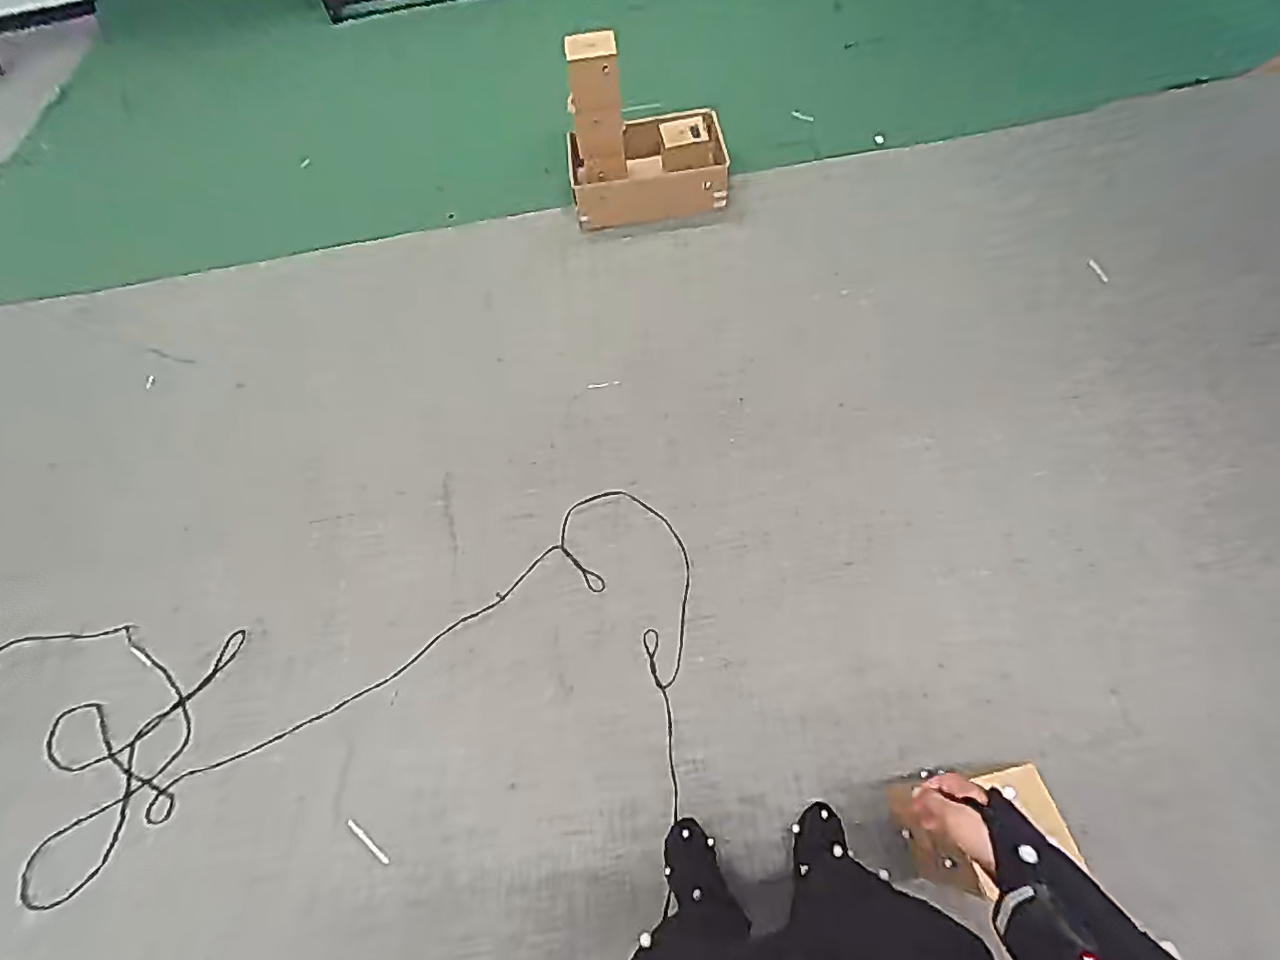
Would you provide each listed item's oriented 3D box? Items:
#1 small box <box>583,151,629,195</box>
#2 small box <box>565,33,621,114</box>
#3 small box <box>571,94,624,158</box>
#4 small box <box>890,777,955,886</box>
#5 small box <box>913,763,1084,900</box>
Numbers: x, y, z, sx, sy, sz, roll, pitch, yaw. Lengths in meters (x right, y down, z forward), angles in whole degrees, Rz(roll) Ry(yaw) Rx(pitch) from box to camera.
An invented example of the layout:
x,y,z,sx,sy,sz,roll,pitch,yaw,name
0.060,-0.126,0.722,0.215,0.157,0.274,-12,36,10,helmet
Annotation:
x,y,z,sx,sy,sz,roll,pitch,yaw,name
-0.142,-1.295,2.214,0.168,0.176,0.179,-9,62,1,small box
-0.163,-1.439,1.918,0.179,0.176,0.168,-8,61,1,small box
-0.160,-1.362,2.065,0.179,0.176,0.168,-7,62,0,small box
0.640,0.710,1.113,0.179,0.176,0.168,-12,61,0,small box
0.623,0.623,0.975,0.179,0.176,0.168,-14,63,-3,small box
